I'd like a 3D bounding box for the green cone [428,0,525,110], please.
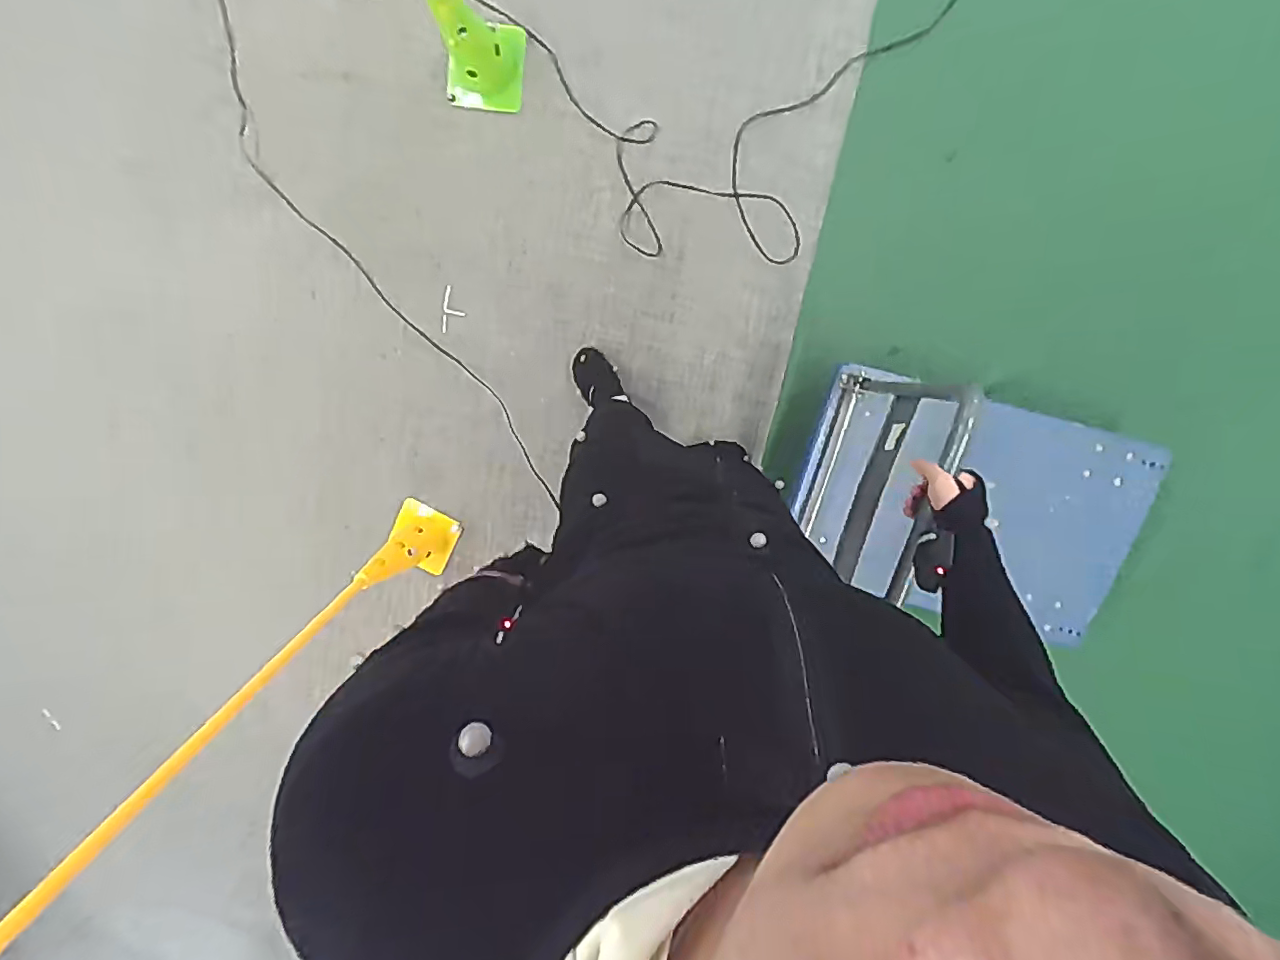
[{"bbox_3d":[-0.413,-1.045,1.236,0.200,0.368,0.202,8,101,2],"label":"green cone"}]
